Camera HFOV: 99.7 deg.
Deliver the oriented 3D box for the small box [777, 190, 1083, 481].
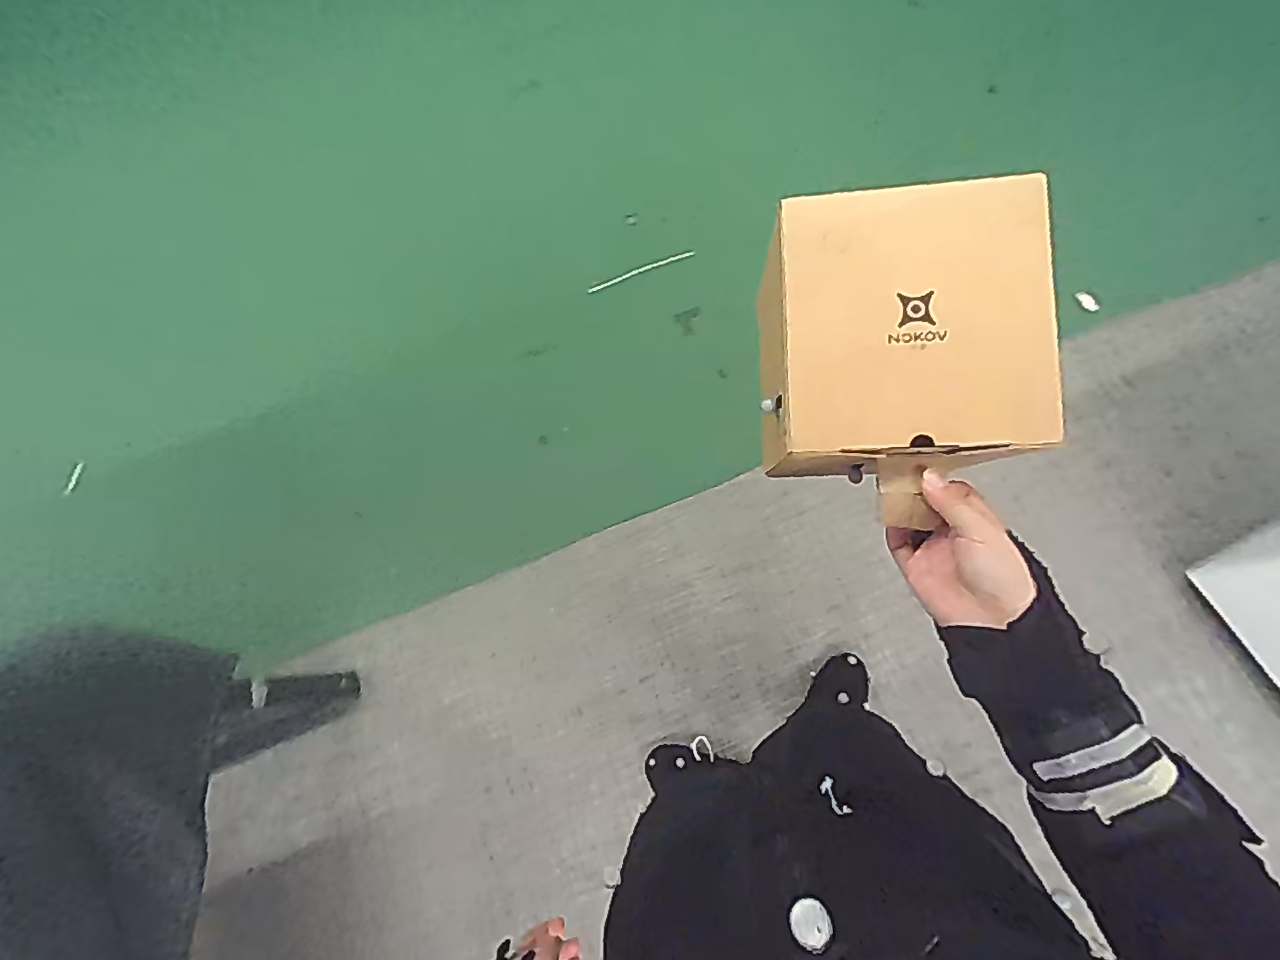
[{"bbox_3d":[0.201,-0.093,0.426,0.168,0.176,0.179,-1,86,8],"label":"small box"}]
